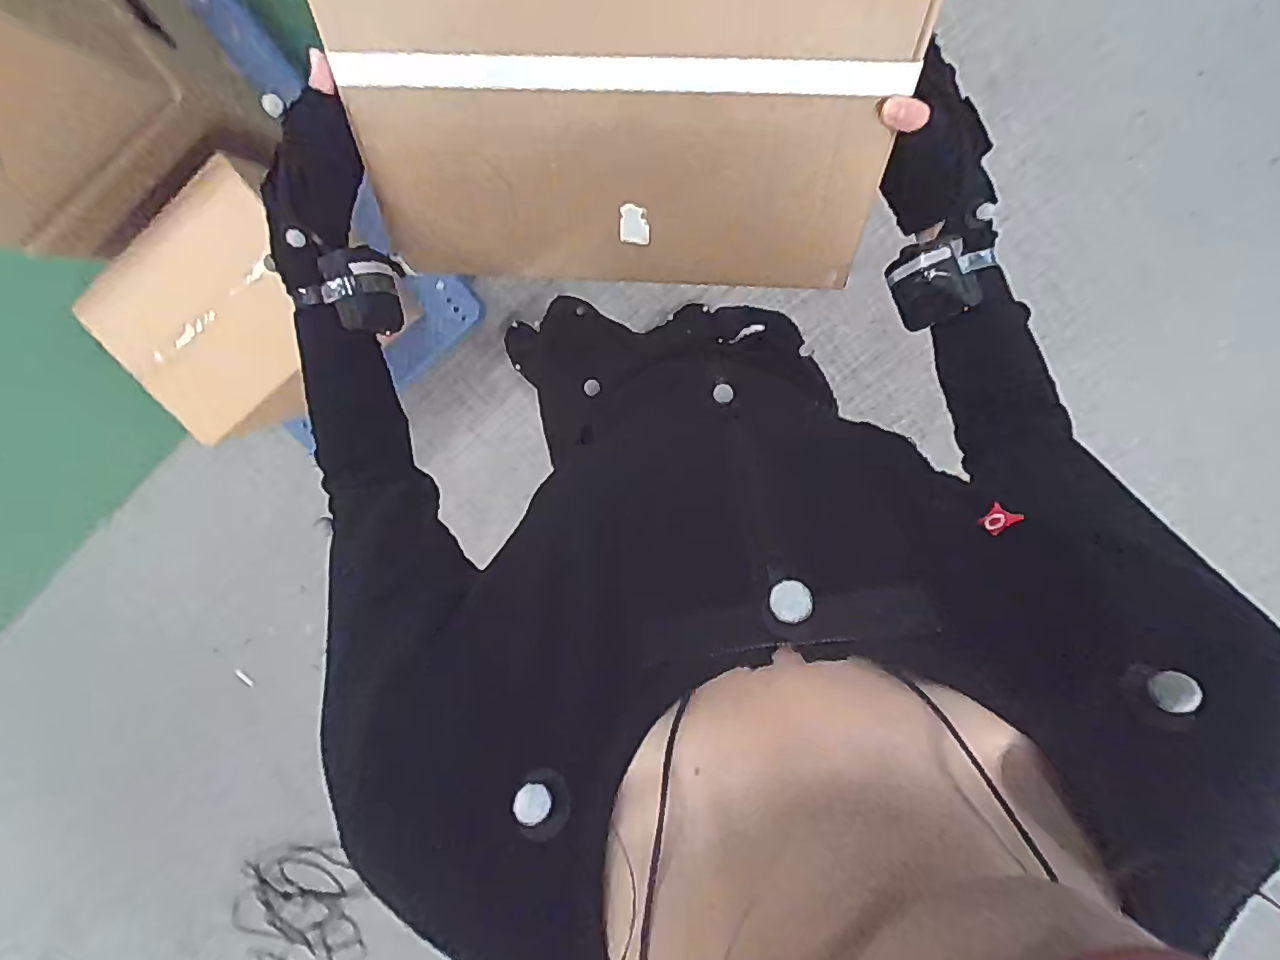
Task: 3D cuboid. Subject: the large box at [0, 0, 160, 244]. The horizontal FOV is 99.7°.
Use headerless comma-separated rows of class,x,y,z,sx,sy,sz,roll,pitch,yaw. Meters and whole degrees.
large box,-0.958,-0.559,0.672,0.408,0.320,0.320,-32,104,12
